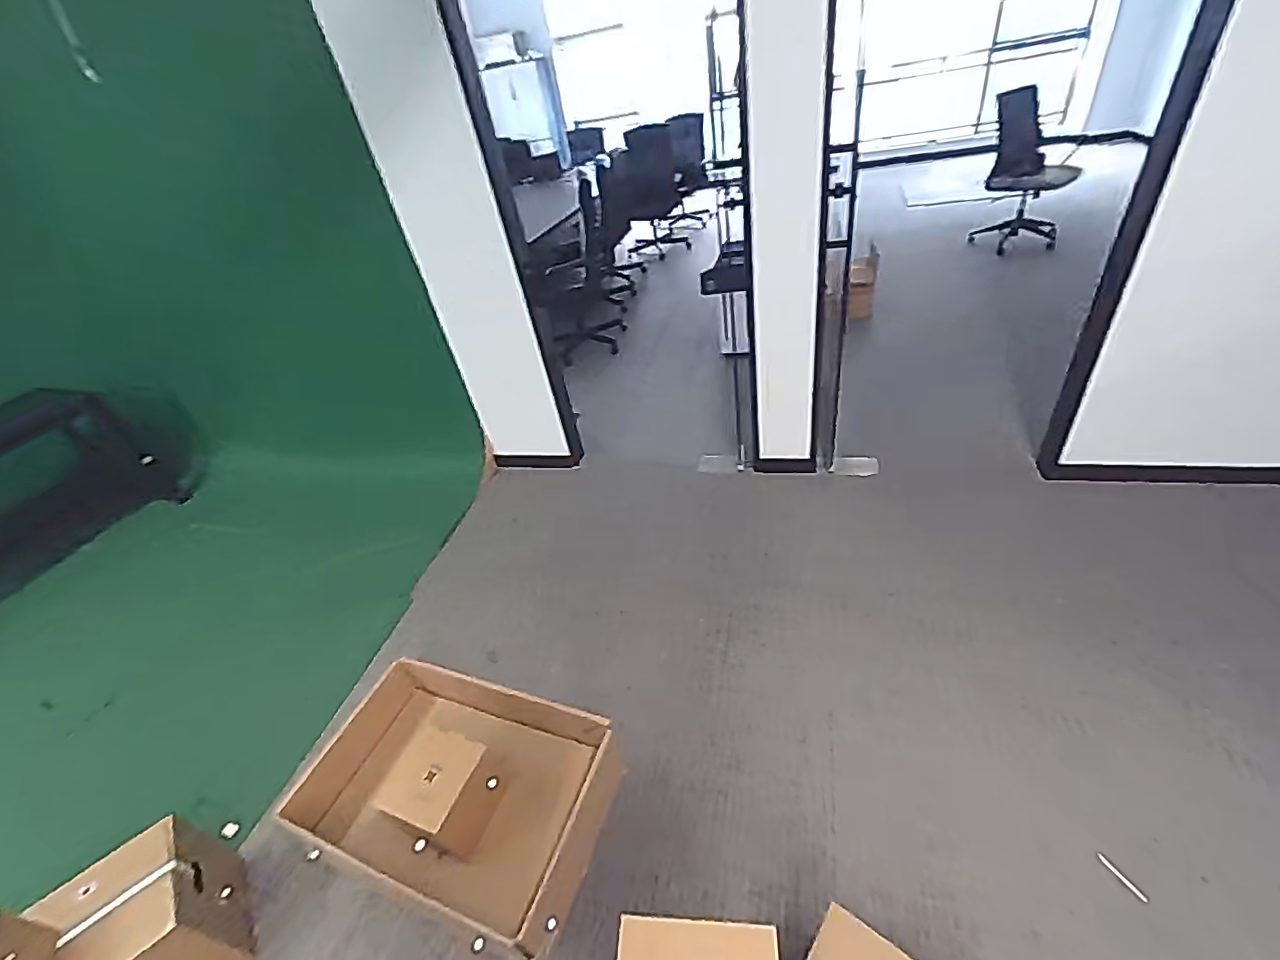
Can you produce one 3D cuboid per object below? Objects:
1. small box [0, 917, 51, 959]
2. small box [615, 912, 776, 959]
[{"bbox_3d":[-1.329,1.010,1.063,0.168,0.176,0.179,-29,41,-24],"label":"small box"},{"bbox_3d":[0.058,0.579,0.552,0.168,0.176,0.179,-2,38,7],"label":"small box"}]
